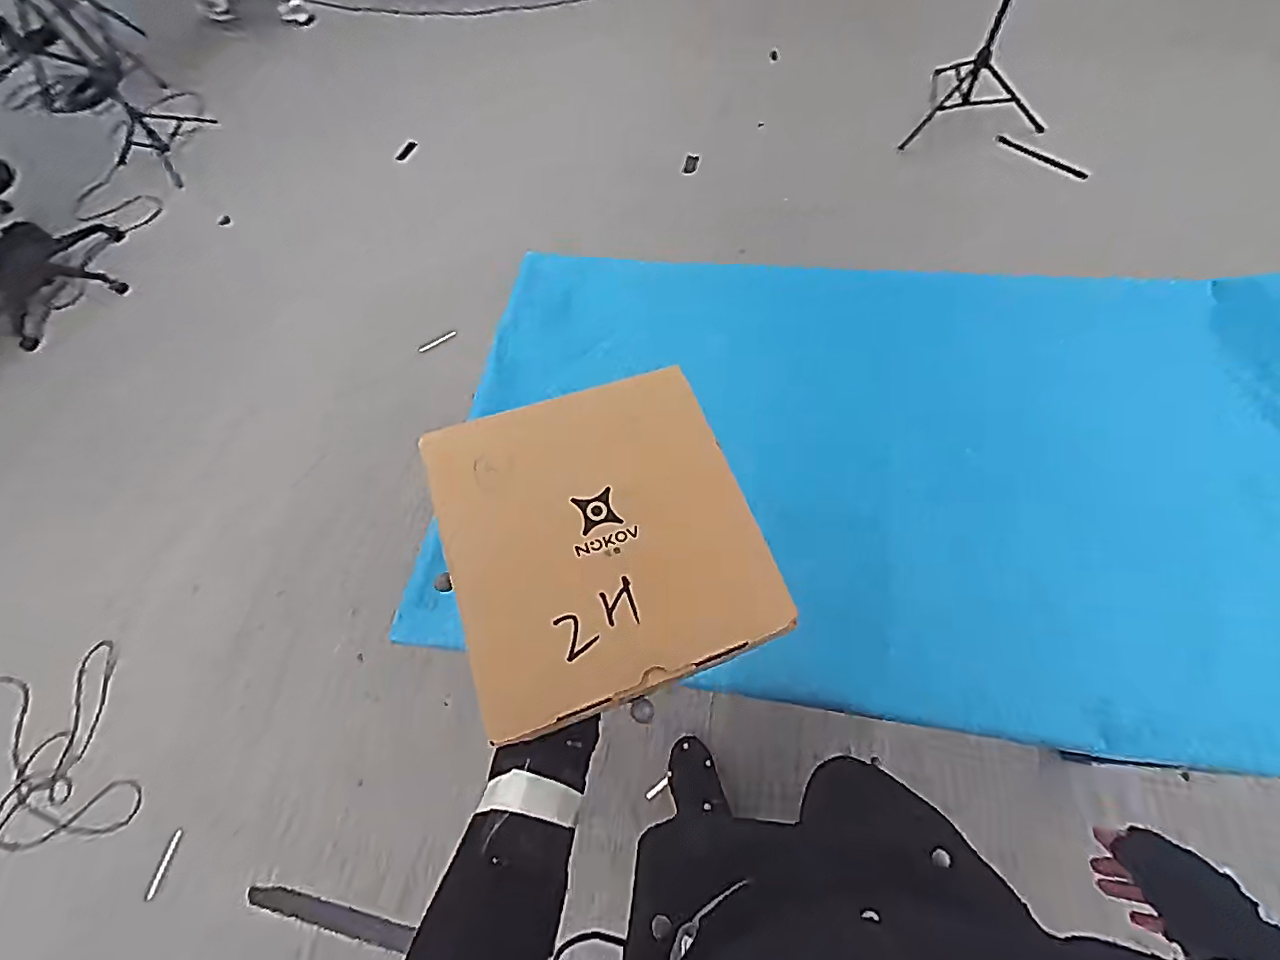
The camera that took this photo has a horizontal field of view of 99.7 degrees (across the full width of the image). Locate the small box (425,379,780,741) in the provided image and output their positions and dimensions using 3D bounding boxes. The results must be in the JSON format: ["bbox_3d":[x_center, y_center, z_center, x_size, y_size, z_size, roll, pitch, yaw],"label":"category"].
[{"bbox_3d":[-0.031,0.061,0.372,0.168,0.176,0.179,-14,70,-8],"label":"small box"}]
